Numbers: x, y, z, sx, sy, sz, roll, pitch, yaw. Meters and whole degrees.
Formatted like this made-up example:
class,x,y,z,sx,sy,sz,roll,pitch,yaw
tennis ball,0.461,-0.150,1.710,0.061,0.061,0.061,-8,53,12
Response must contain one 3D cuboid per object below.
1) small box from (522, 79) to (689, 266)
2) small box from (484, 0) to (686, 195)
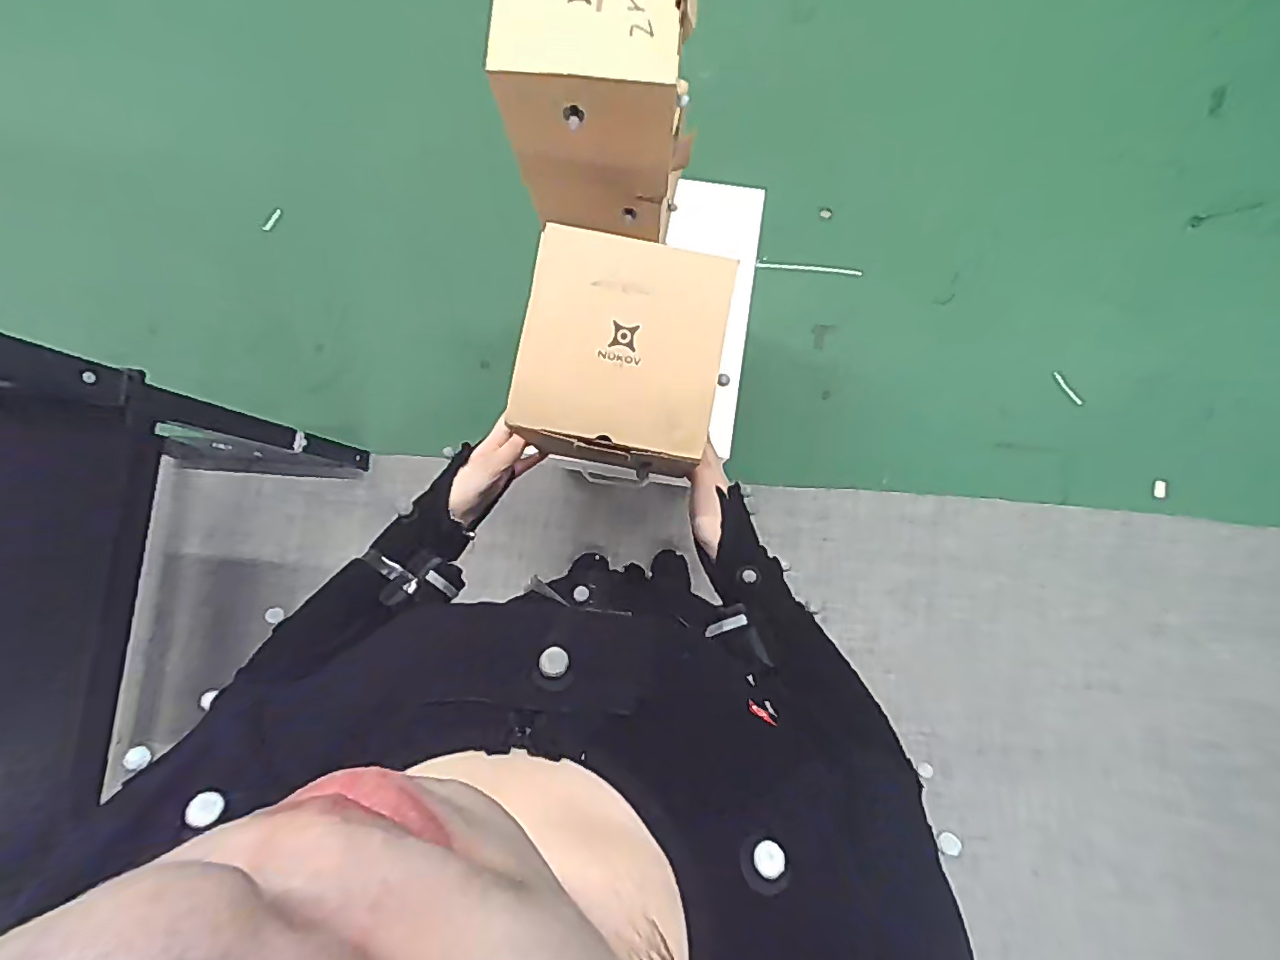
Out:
class,x,y,z,sx,sy,sz,roll,pitch,yaw
small box,-0.041,-0.413,0.729,0.179,0.176,0.168,12,84,1
small box,-0.046,-0.426,0.565,0.179,0.176,0.168,4,85,0
